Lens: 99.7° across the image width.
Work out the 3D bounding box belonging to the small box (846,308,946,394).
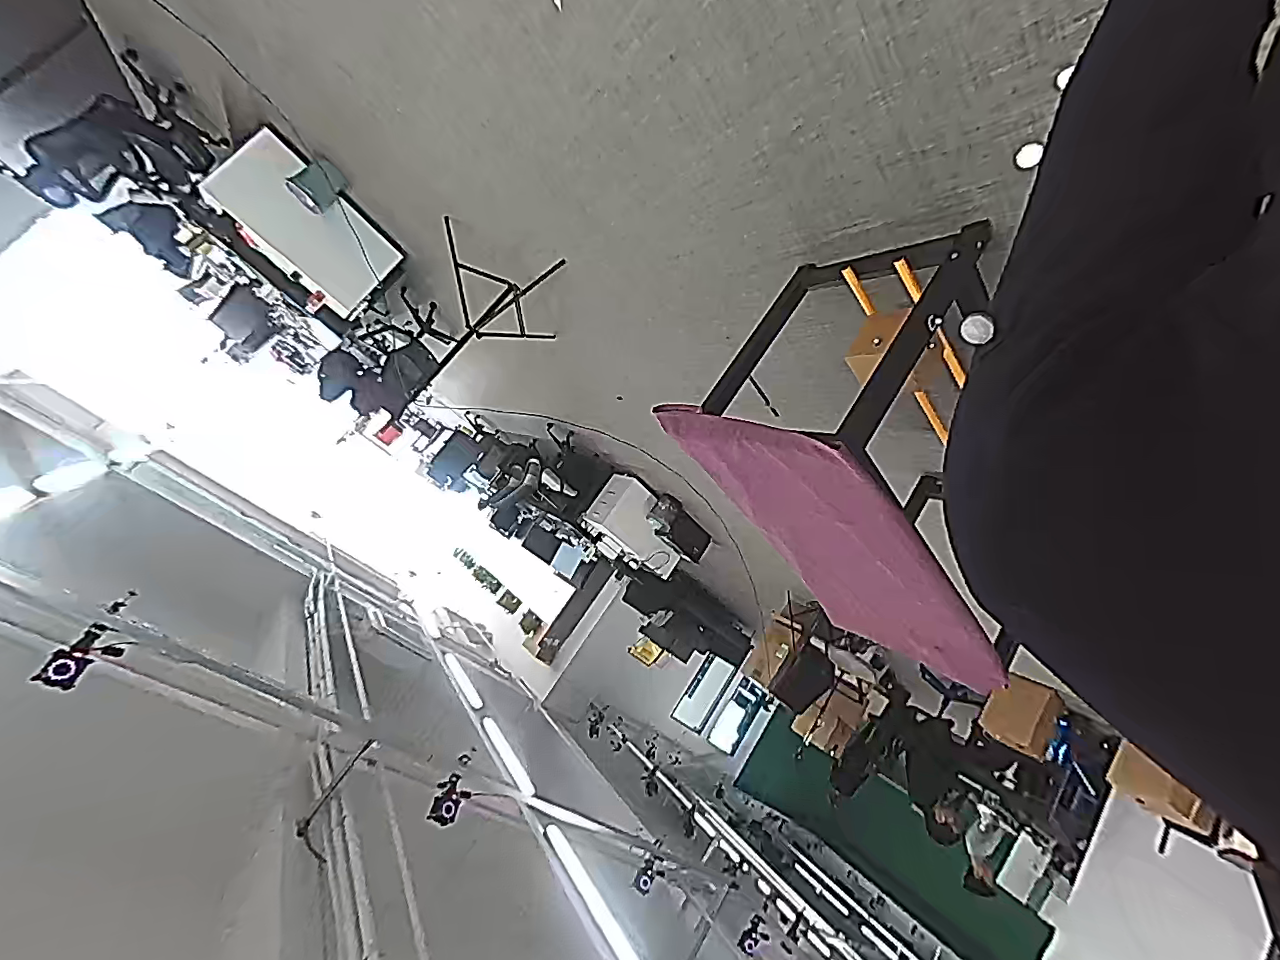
[{"bbox_3d":[0.733,-0.365,1.544,0.168,0.176,0.179,42,163,-30],"label":"small box"}]
